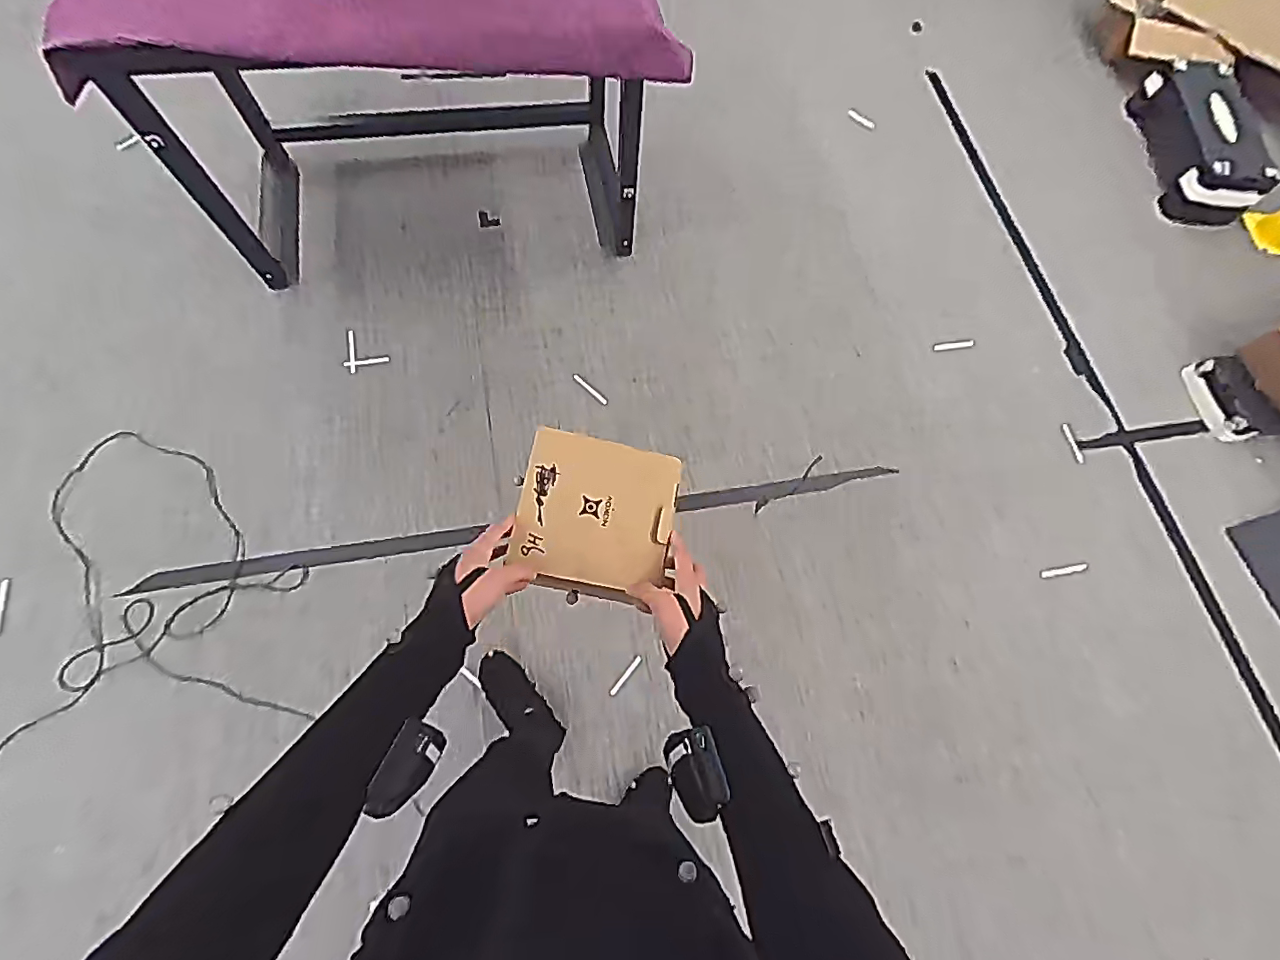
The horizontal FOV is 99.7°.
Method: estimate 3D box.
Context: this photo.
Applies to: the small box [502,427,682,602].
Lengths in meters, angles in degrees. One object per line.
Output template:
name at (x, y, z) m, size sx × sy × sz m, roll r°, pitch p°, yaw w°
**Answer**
small box at (-0.064, 0.055, 0.681) m, size 0.179 × 0.176 × 0.168 m, roll 14°, pitch 72°, yaw -8°
